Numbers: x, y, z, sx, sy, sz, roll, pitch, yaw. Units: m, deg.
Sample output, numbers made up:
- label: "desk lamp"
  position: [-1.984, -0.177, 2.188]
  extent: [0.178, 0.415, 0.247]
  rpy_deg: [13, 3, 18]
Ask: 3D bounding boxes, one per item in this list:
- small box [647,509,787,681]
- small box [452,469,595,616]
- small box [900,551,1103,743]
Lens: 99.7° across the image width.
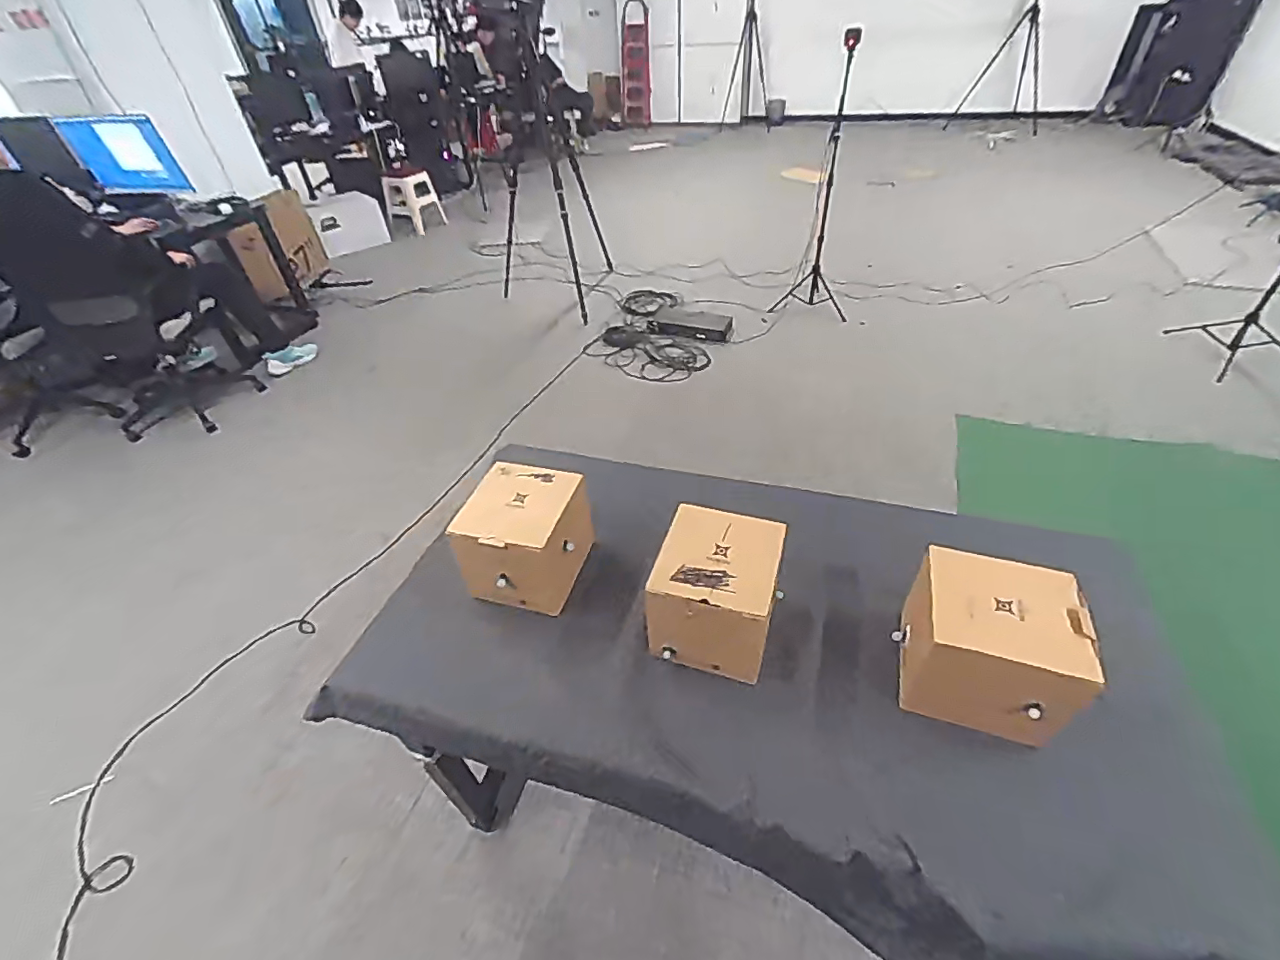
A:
- label: "small box"
  position: [0.120, 0.174, 0.821]
  extent: [0.168, 0.176, 0.179]
  rpy_deg: [11, 42, 17]
- label: "small box"
  position: [-0.186, 0.108, 0.930]
  extent: [0.168, 0.176, 0.179]
  rpy_deg: [8, 43, 15]
- label: "small box"
  position: [0.465, 0.225, 0.729]
  extent: [0.179, 0.176, 0.168]
  rpy_deg: [9, 42, 18]
